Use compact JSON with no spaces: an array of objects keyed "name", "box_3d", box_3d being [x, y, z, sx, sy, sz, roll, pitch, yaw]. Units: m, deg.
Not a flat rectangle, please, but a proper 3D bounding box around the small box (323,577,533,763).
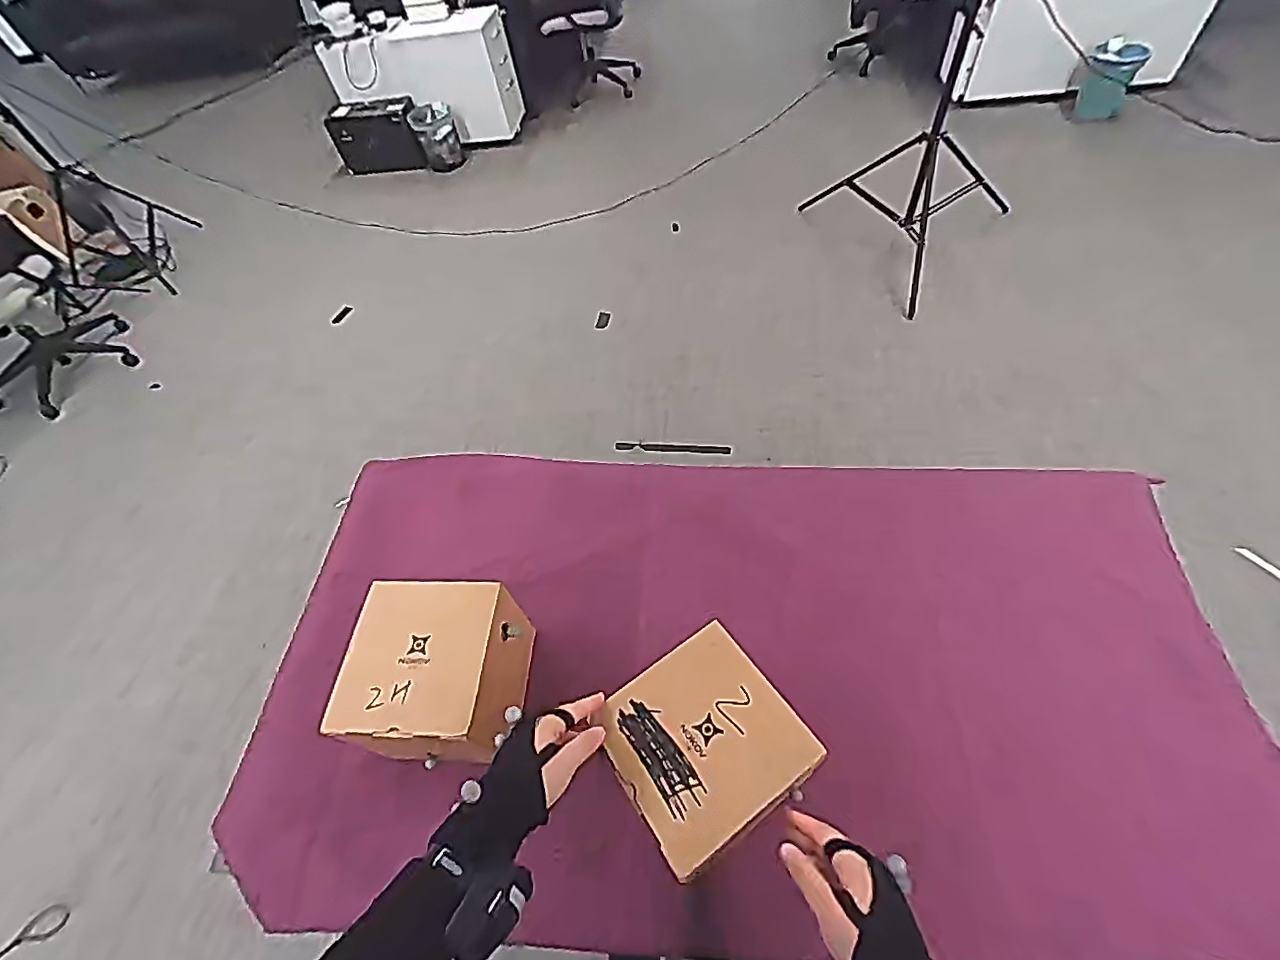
[{"name":"small box","box_3d":[-0.239,0.236,0.667,0.168,0.176,0.179,-1,55,6]}]
